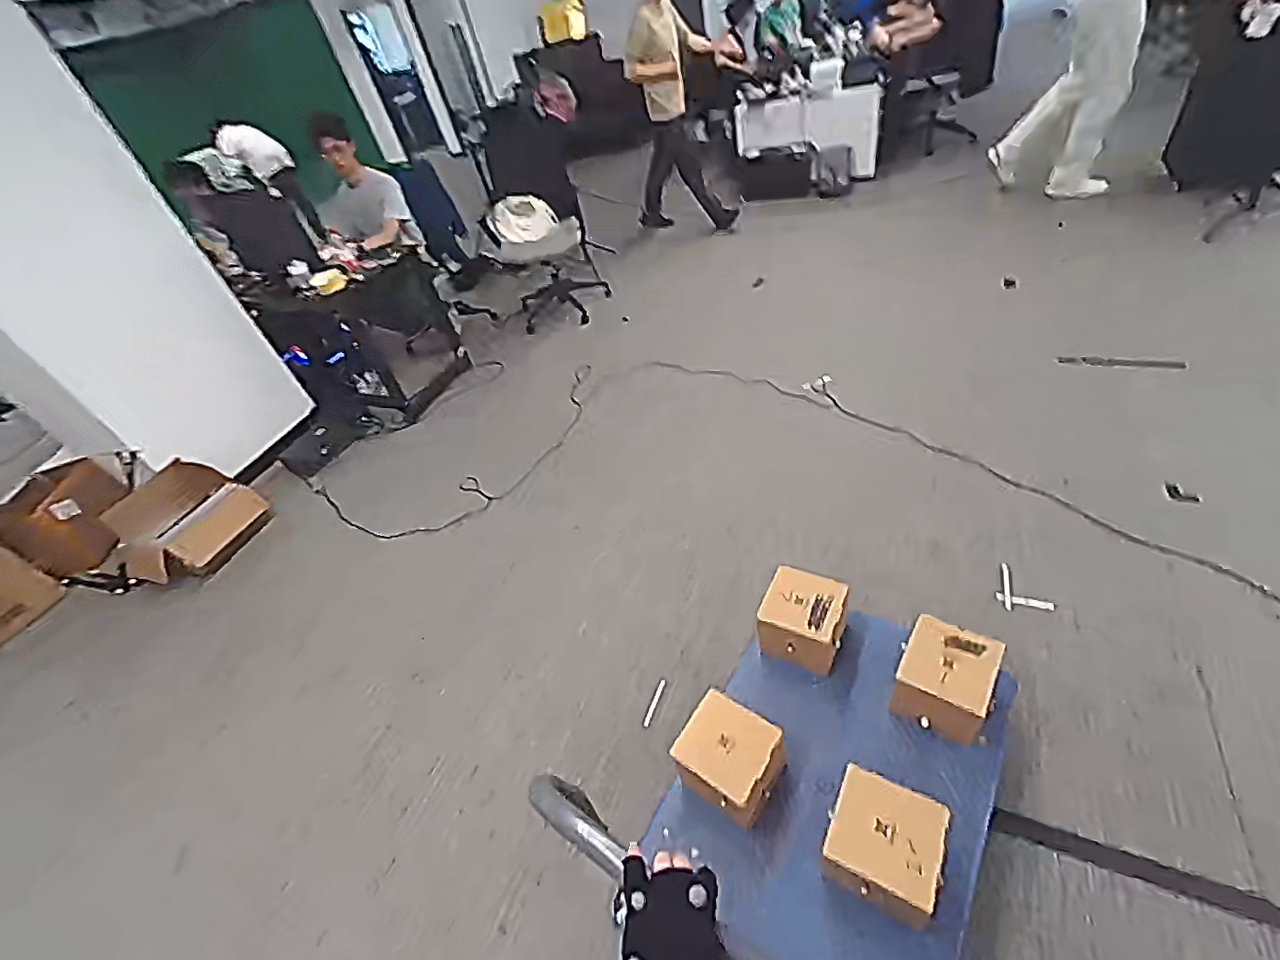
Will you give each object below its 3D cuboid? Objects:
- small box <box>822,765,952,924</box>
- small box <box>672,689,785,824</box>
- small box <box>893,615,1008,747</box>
[{"bbox_3d":[0.445,0.666,0.987,0.179,0.176,0.168,15,51,30],"label":"small box"},{"bbox_3d":[0.192,0.590,1.149,0.179,0.176,0.168,22,54,33],"label":"small box"},{"bbox_3d":[0.661,0.432,1.167,0.168,0.176,0.179,19,54,33],"label":"small box"}]
